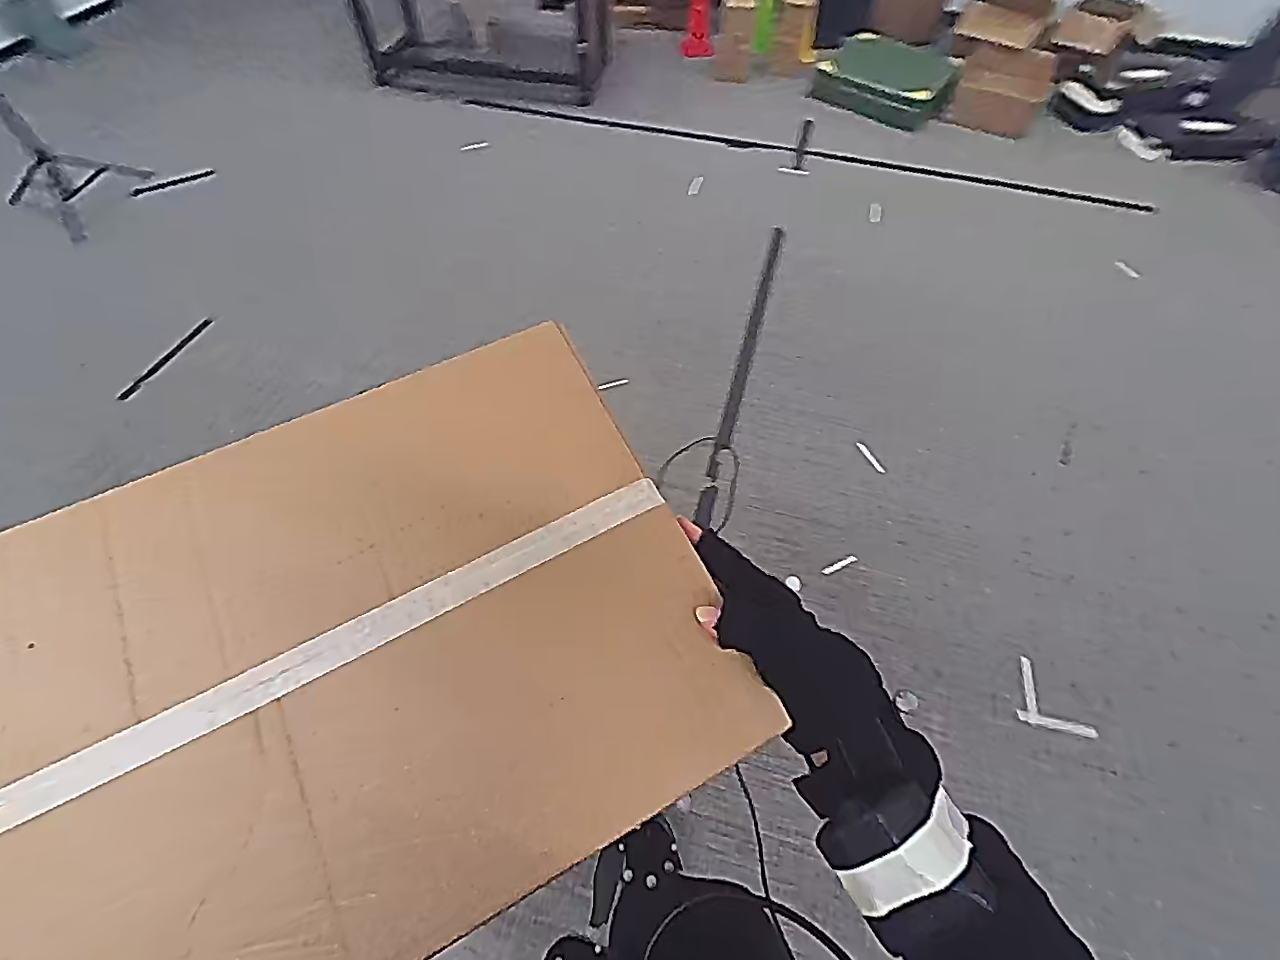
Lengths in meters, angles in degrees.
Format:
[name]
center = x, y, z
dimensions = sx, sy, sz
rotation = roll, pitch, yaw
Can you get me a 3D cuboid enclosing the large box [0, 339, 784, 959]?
[large box]
center = -0.162, 0.155, 0.453
dimensions = 0.408, 0.320, 0.320
rotation = -25, 70, -12
